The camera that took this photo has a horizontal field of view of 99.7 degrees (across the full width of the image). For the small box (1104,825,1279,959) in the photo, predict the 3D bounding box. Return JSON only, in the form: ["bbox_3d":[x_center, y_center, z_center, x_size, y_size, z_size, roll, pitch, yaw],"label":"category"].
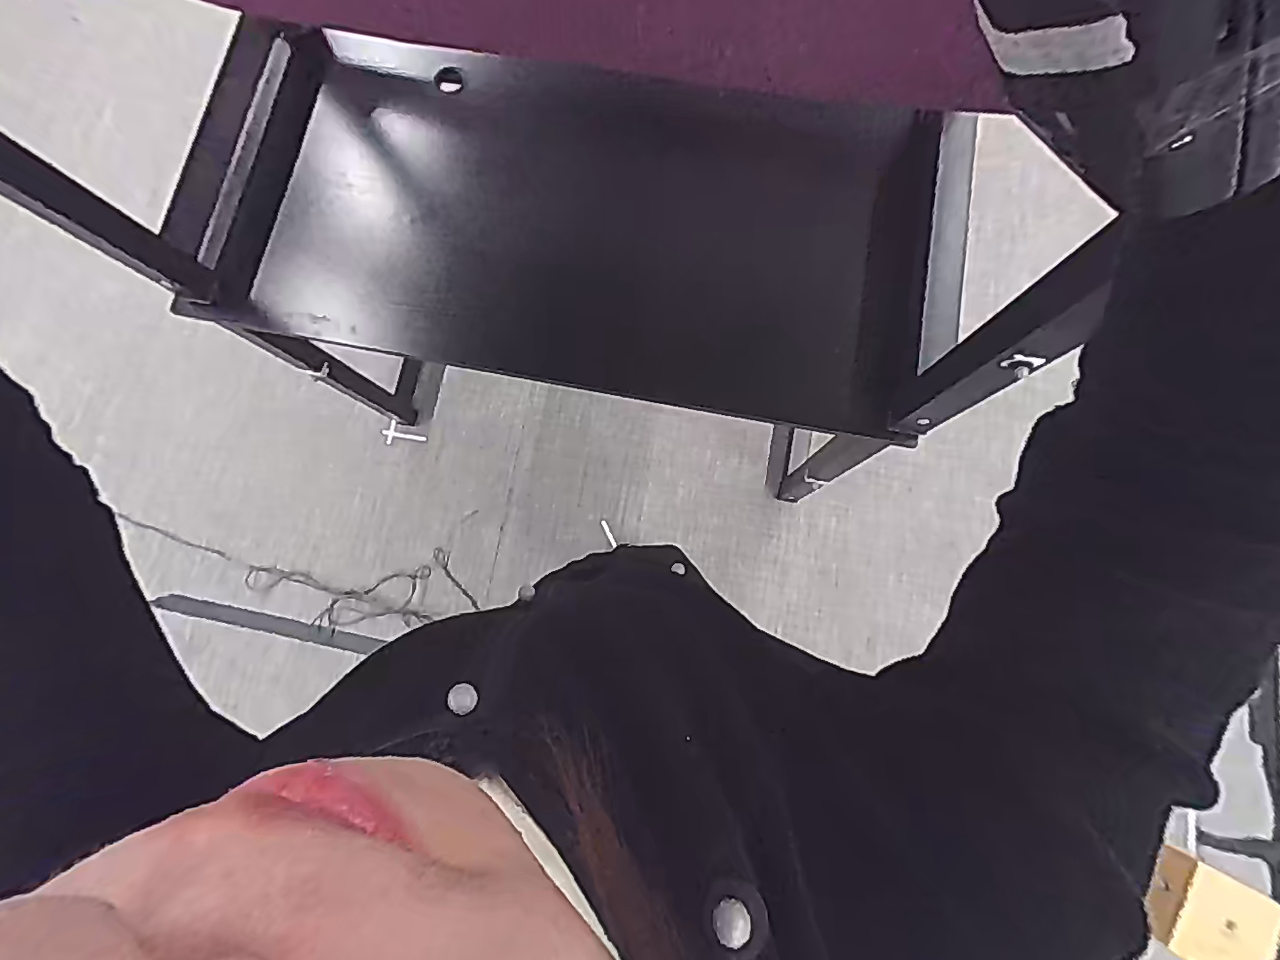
[{"bbox_3d":[1.100,0.848,1.091,0.168,0.176,0.179,28,83,8],"label":"small box"}]
